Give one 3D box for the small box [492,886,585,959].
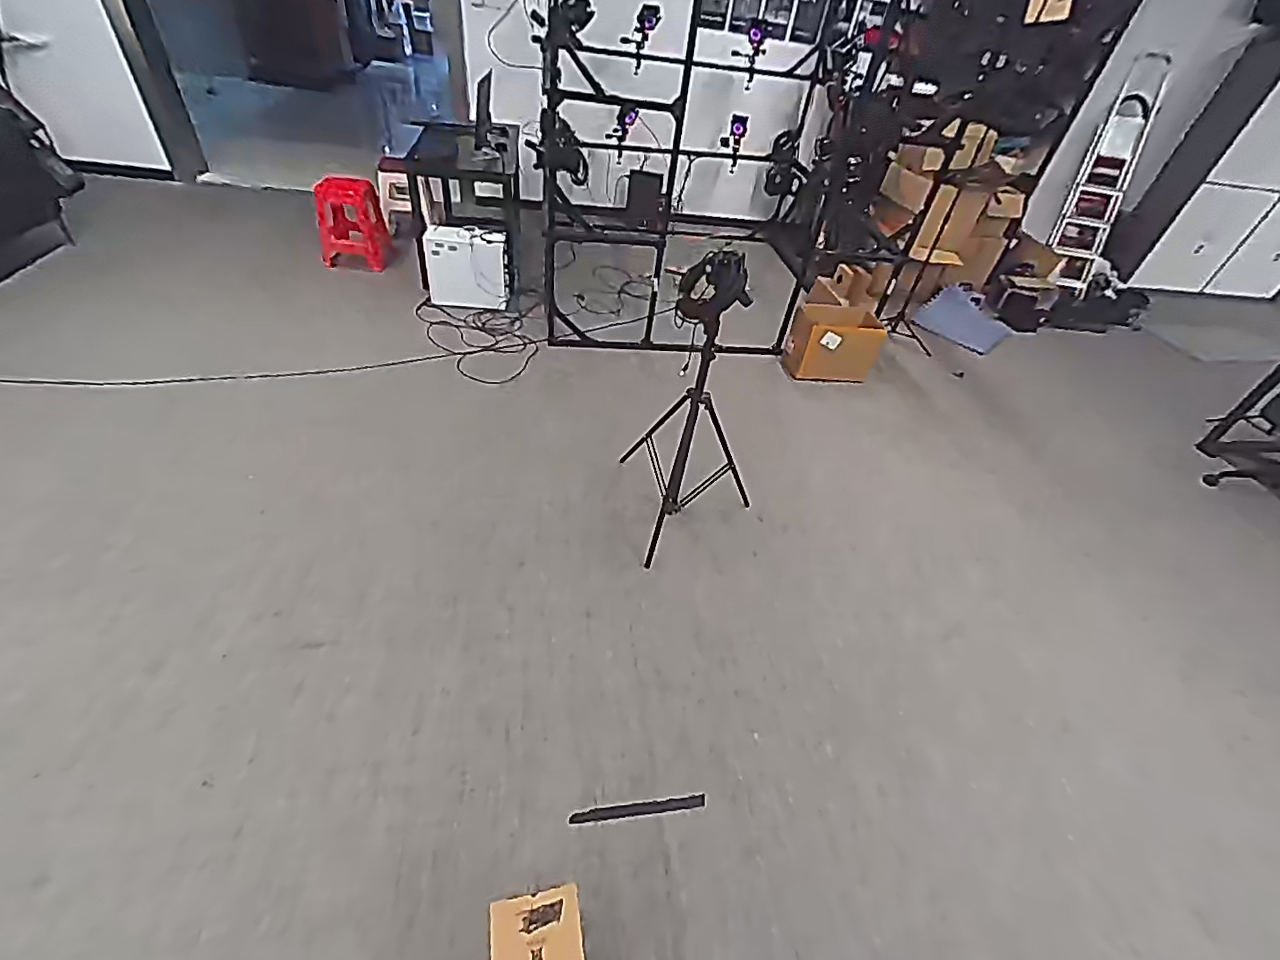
[{"bbox_3d":[-0.194,0.916,1.033,0.168,0.176,0.179,-4,45,-13],"label":"small box"}]
